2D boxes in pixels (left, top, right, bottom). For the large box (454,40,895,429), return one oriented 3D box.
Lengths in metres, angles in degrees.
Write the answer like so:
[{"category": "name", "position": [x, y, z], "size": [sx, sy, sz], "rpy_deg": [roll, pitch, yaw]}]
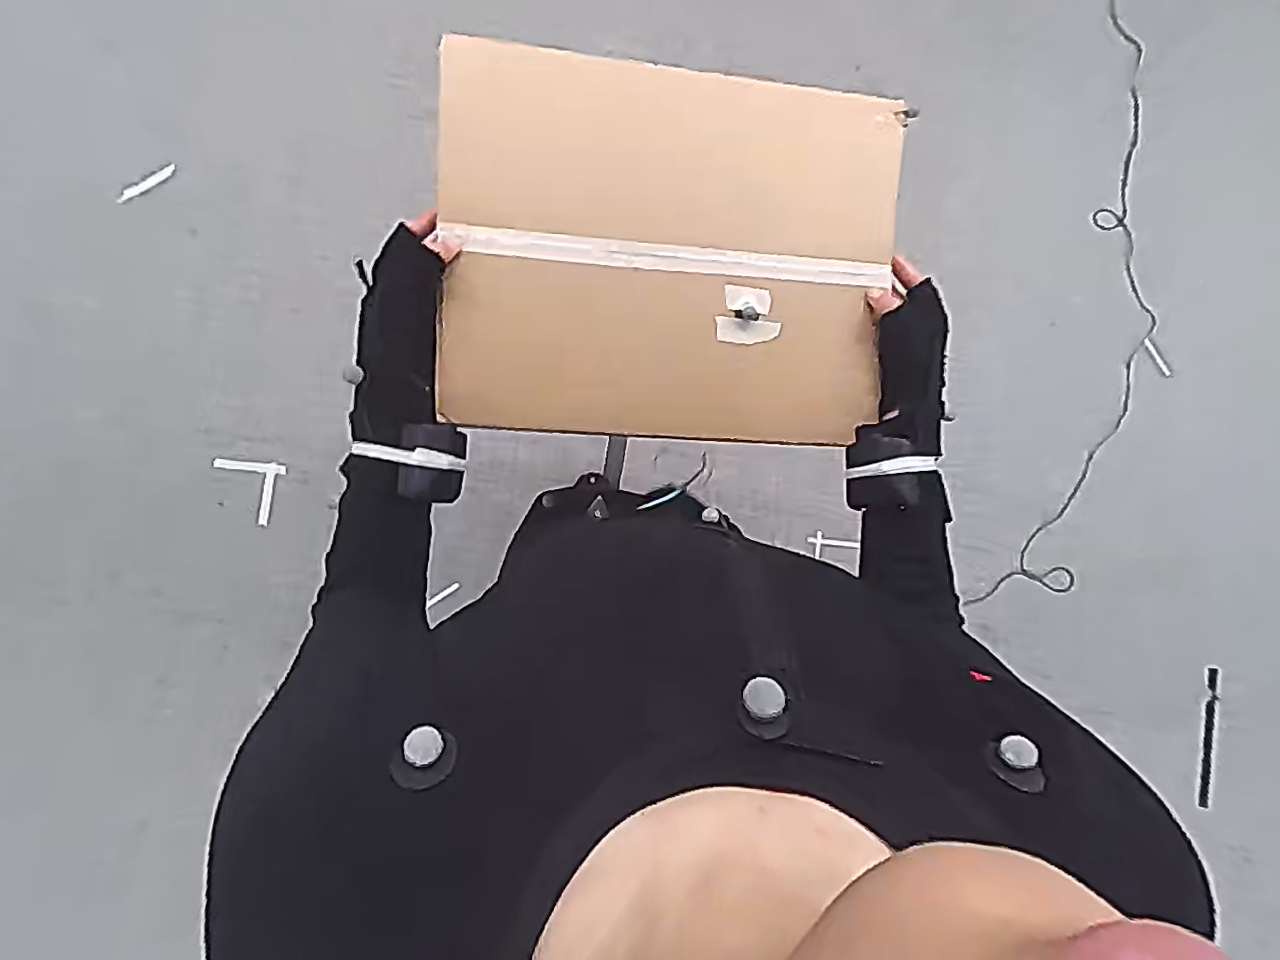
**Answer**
[{"category": "large box", "position": [0.014, -0.226, 0.638], "size": [0.408, 0.320, 0.320], "rpy_deg": [3, 97, -9]}]
